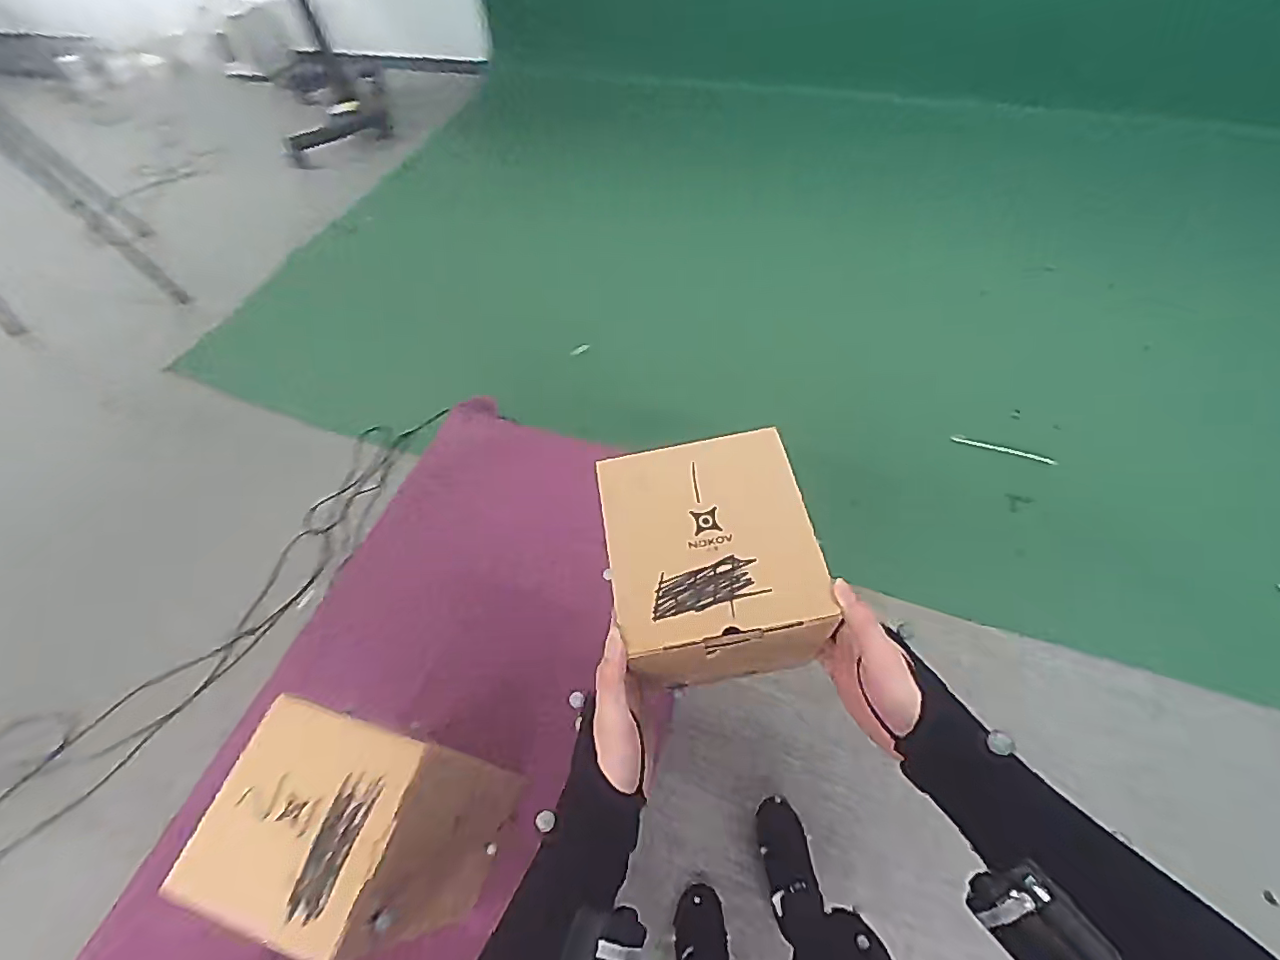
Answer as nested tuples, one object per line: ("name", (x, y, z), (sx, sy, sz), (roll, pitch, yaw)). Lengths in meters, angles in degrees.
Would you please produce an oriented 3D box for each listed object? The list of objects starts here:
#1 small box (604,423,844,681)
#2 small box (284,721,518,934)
("small box", (0.068, 0.077, 0.500), (0.168, 0.176, 0.179), (-10, 58, 2))
("small box", (-0.281, 0.427, 0.680), (0.179, 0.176, 0.168), (13, 60, 14))
